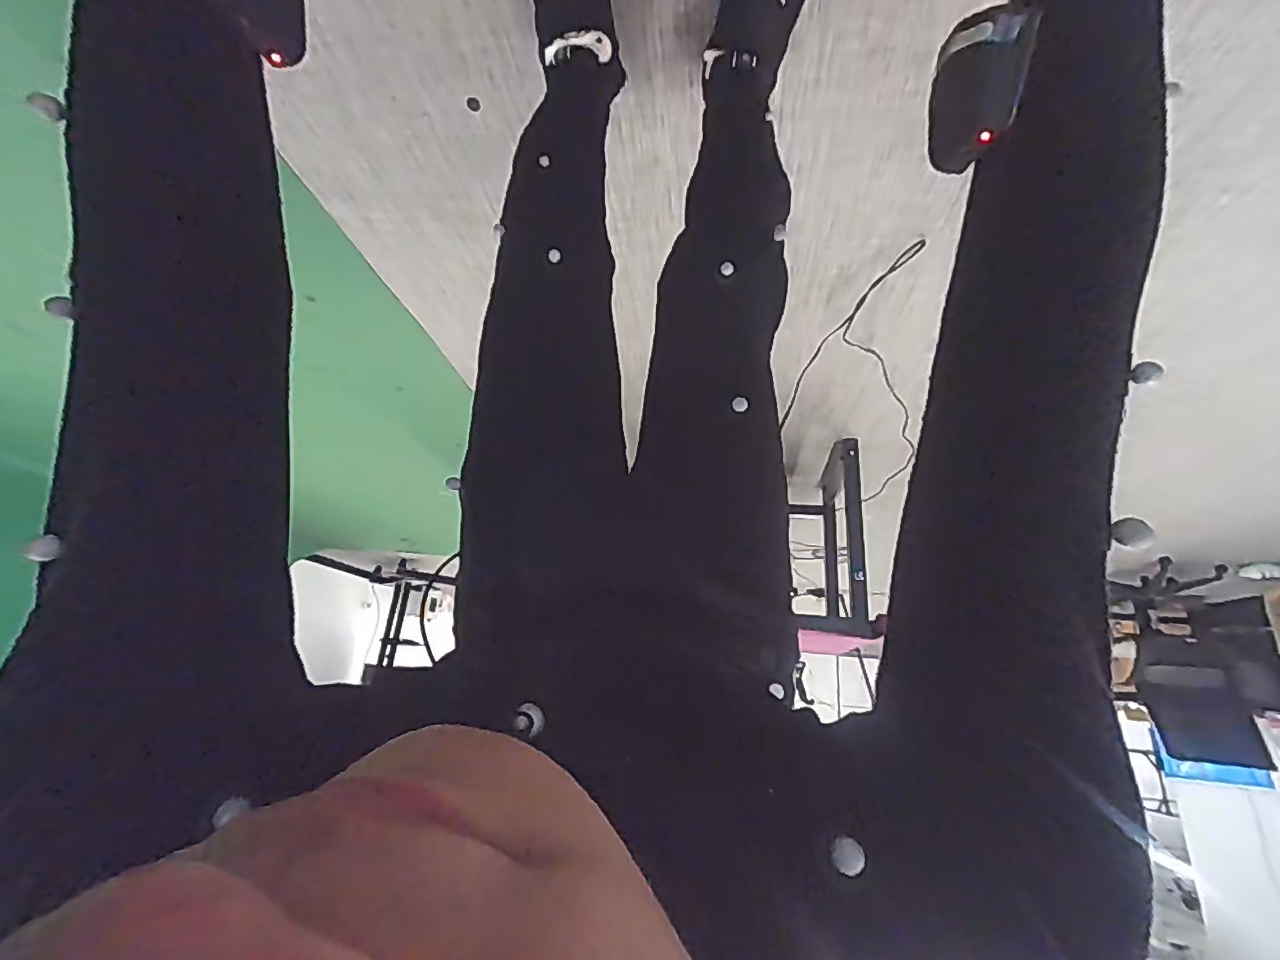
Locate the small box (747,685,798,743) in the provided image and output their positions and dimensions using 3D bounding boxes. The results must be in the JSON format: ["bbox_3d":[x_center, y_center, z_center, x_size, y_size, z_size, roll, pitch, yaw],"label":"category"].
[{"bbox_3d":[0.472,0.823,1.915,0.168,0.176,0.179,0,158,16],"label":"small box"}]

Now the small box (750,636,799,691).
[{"bbox_3d":[0.490,0.671,1.969,0.168,0.176,0.179,0,158,14],"label":"small box"}]
